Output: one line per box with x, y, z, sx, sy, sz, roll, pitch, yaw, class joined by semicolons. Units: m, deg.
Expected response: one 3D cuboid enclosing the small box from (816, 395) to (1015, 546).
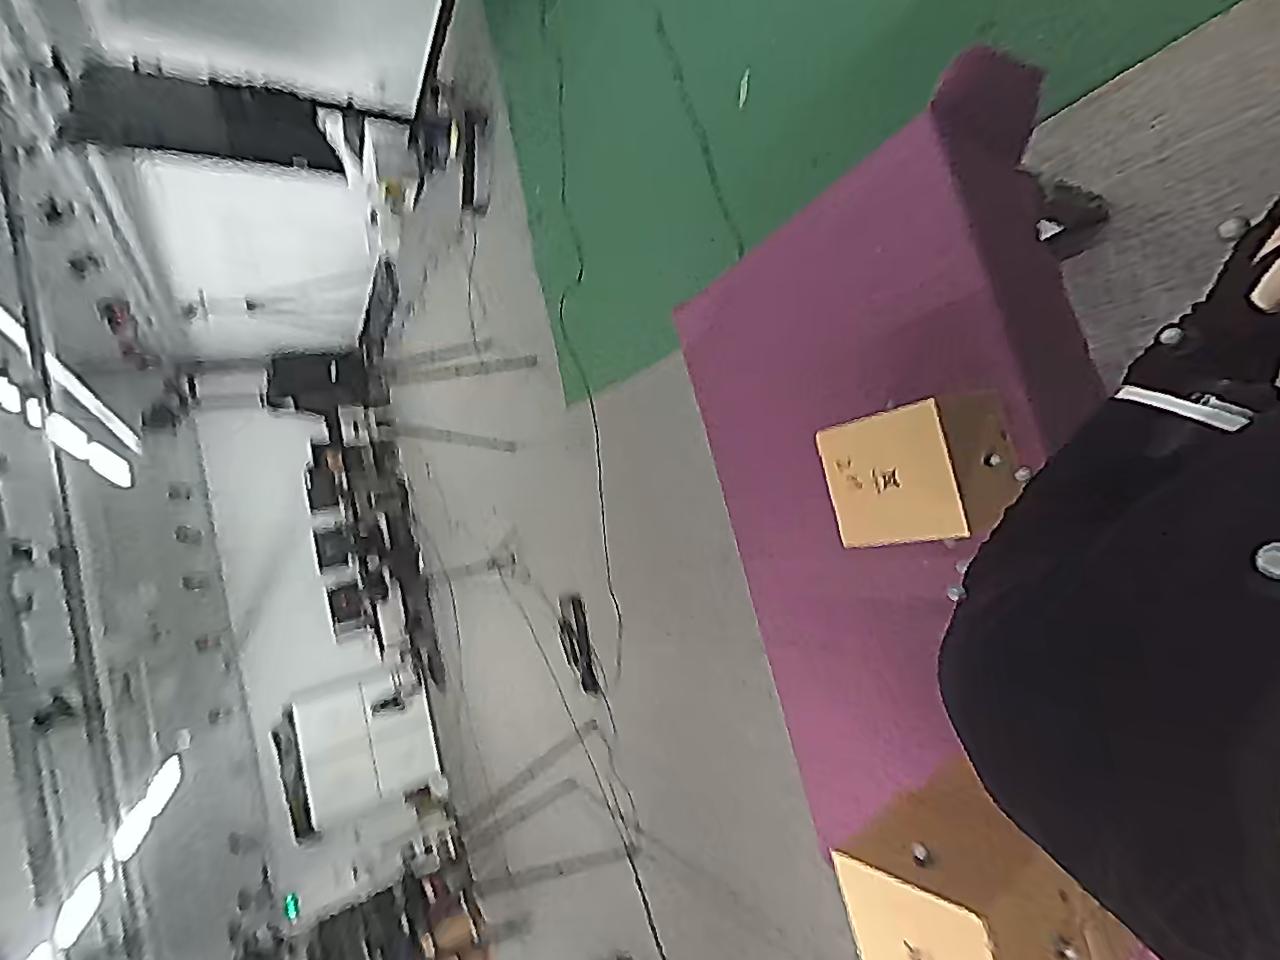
0.381;-0.012;0.743;0.179;0.176;0.168;-18;84;56;small box

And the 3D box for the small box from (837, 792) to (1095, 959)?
0.365;0.487;0.614;0.179;0.176;0.168;-23;80;55;small box
